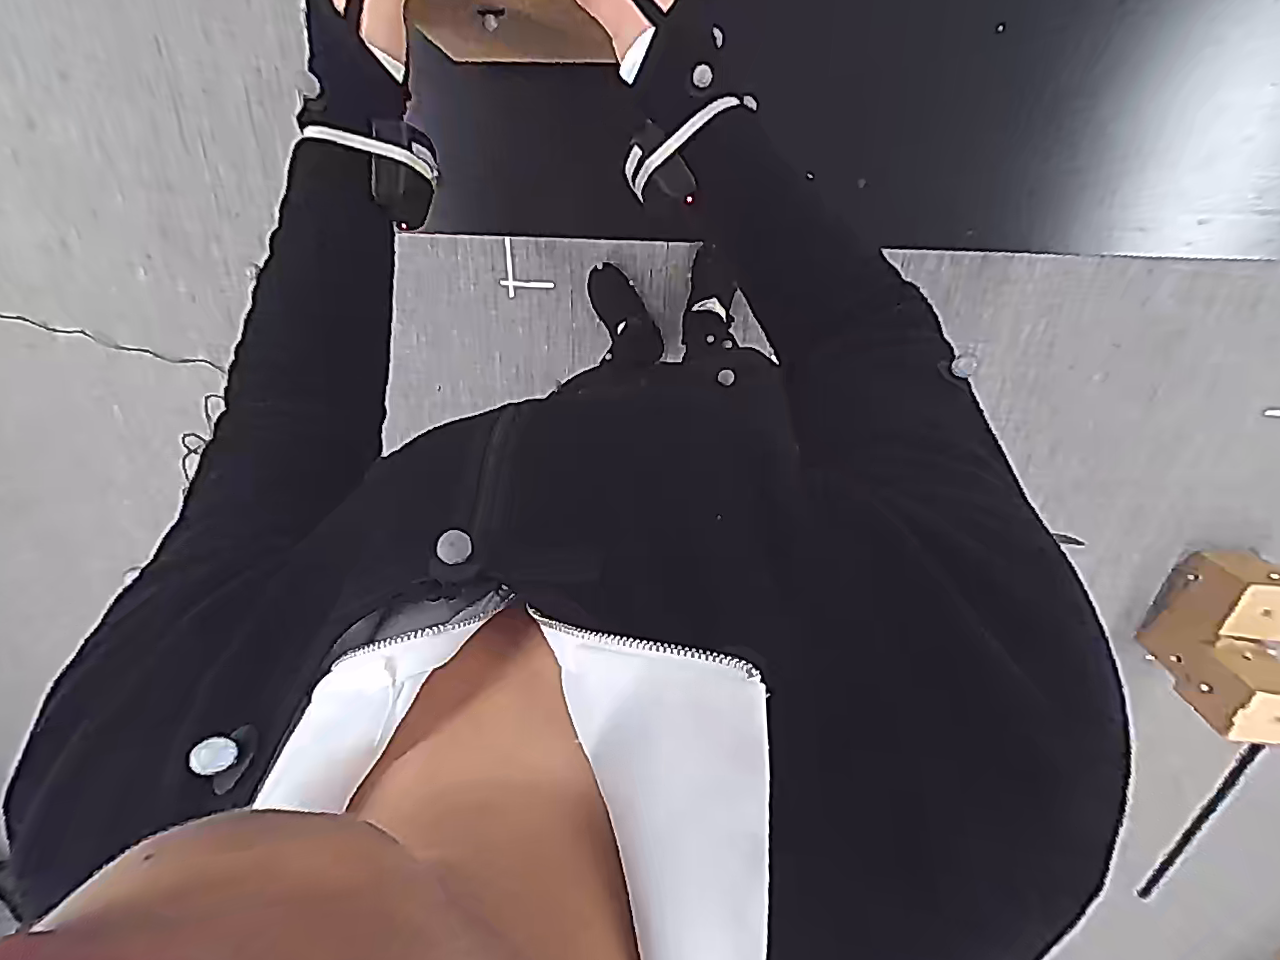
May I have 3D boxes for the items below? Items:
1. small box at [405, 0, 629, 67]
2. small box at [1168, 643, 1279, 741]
[{"bbox_3d":[-0.102,-0.462,0.441,0.179,0.176,0.168,3,113,2],"label":"small box"},{"bbox_3d":[1.582,0.556,1.436,0.179,0.176,0.168,5,115,3],"label":"small box"}]
